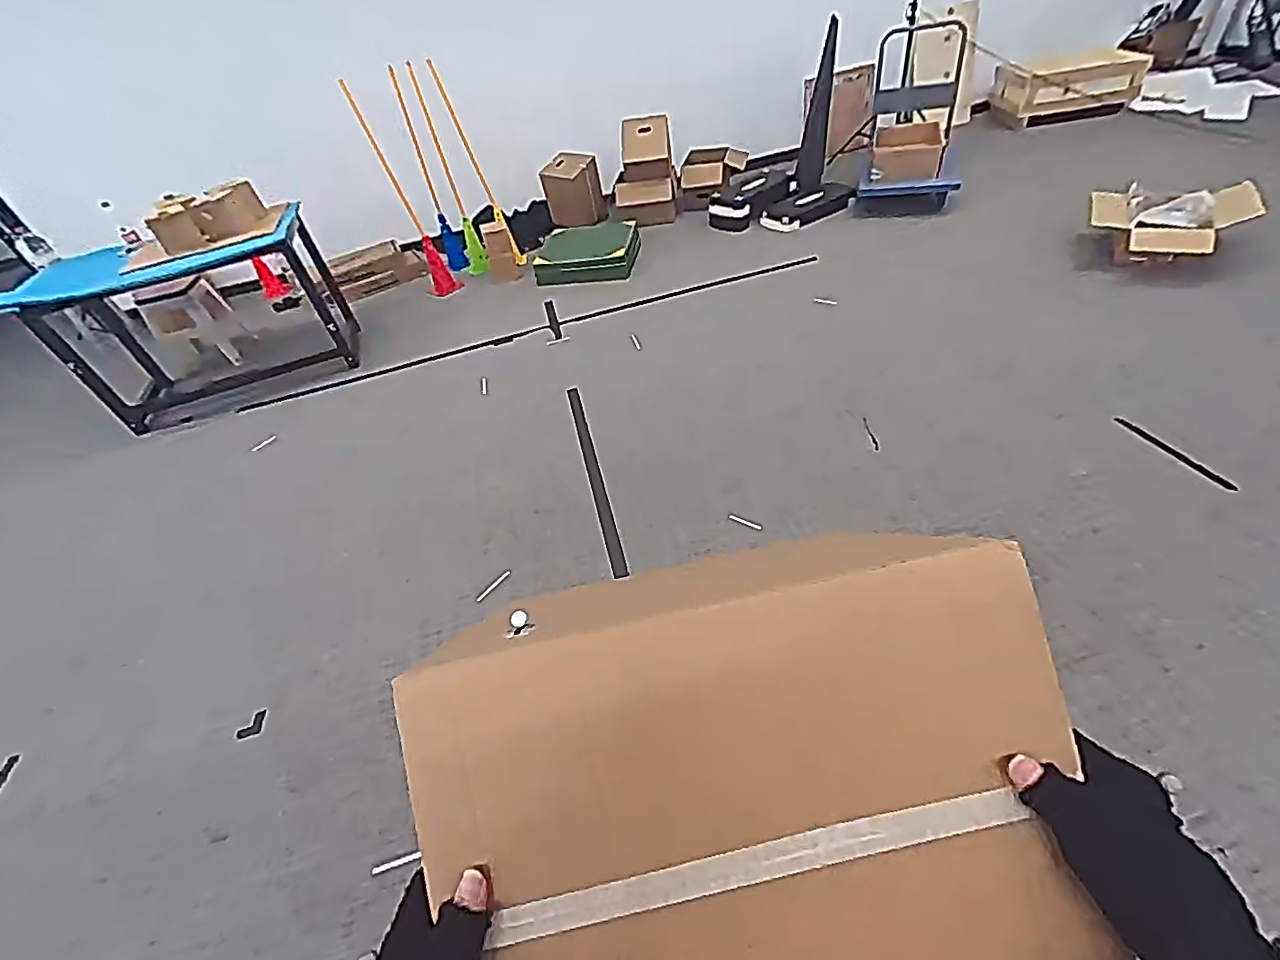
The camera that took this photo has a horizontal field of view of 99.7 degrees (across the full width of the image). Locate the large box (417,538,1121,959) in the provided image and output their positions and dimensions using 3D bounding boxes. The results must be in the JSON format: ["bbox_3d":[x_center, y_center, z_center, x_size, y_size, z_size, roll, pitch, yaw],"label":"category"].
[{"bbox_3d":[0.079,0.246,0.489,0.408,0.320,0.320,-13,86,-1],"label":"large box"}]
